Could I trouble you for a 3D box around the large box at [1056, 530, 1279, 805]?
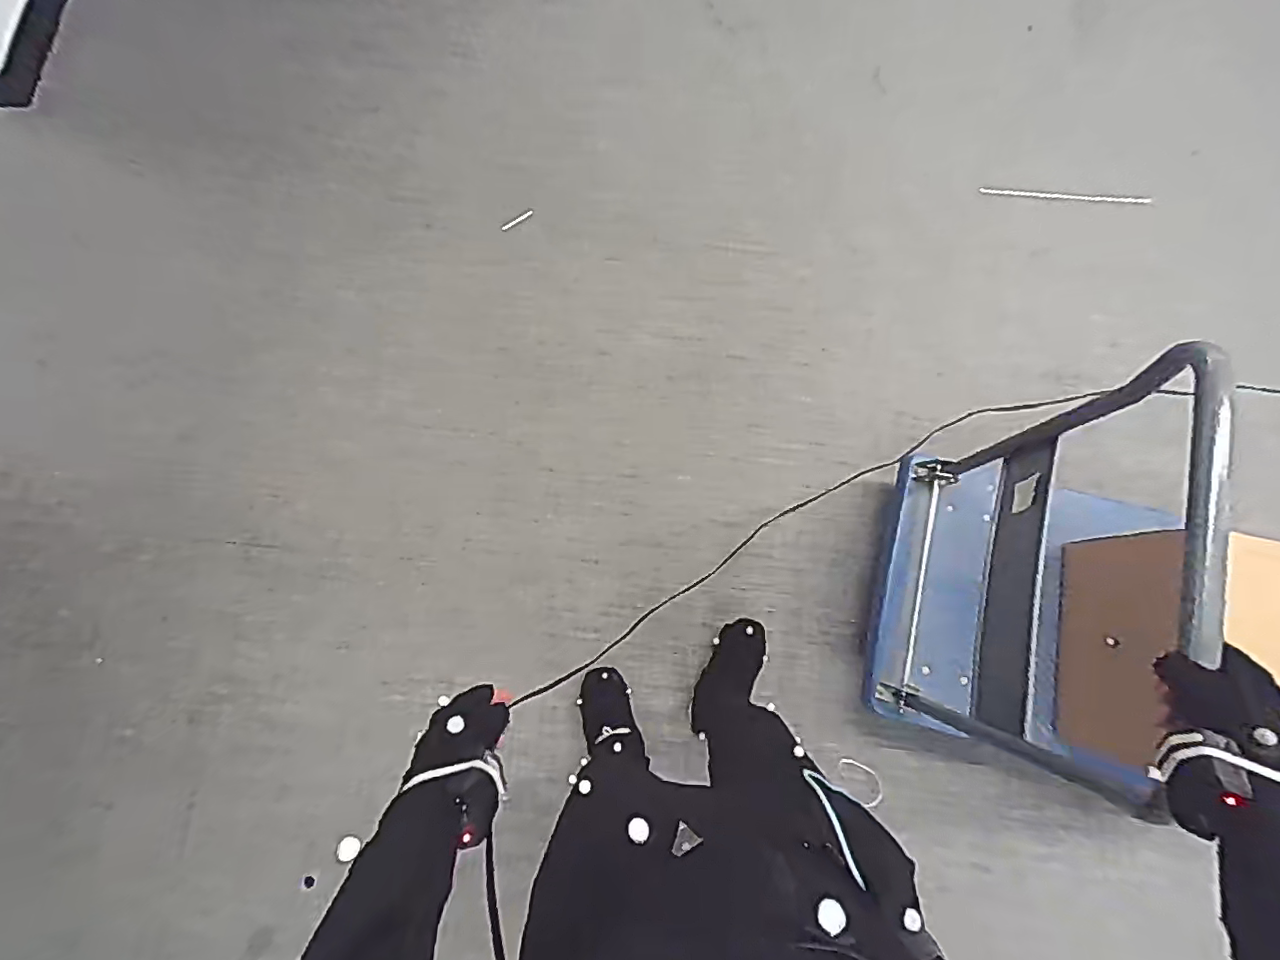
[{"bbox_3d":[1.023,0.330,0.984,0.320,0.320,0.408,11,78,2],"label":"large box"}]
